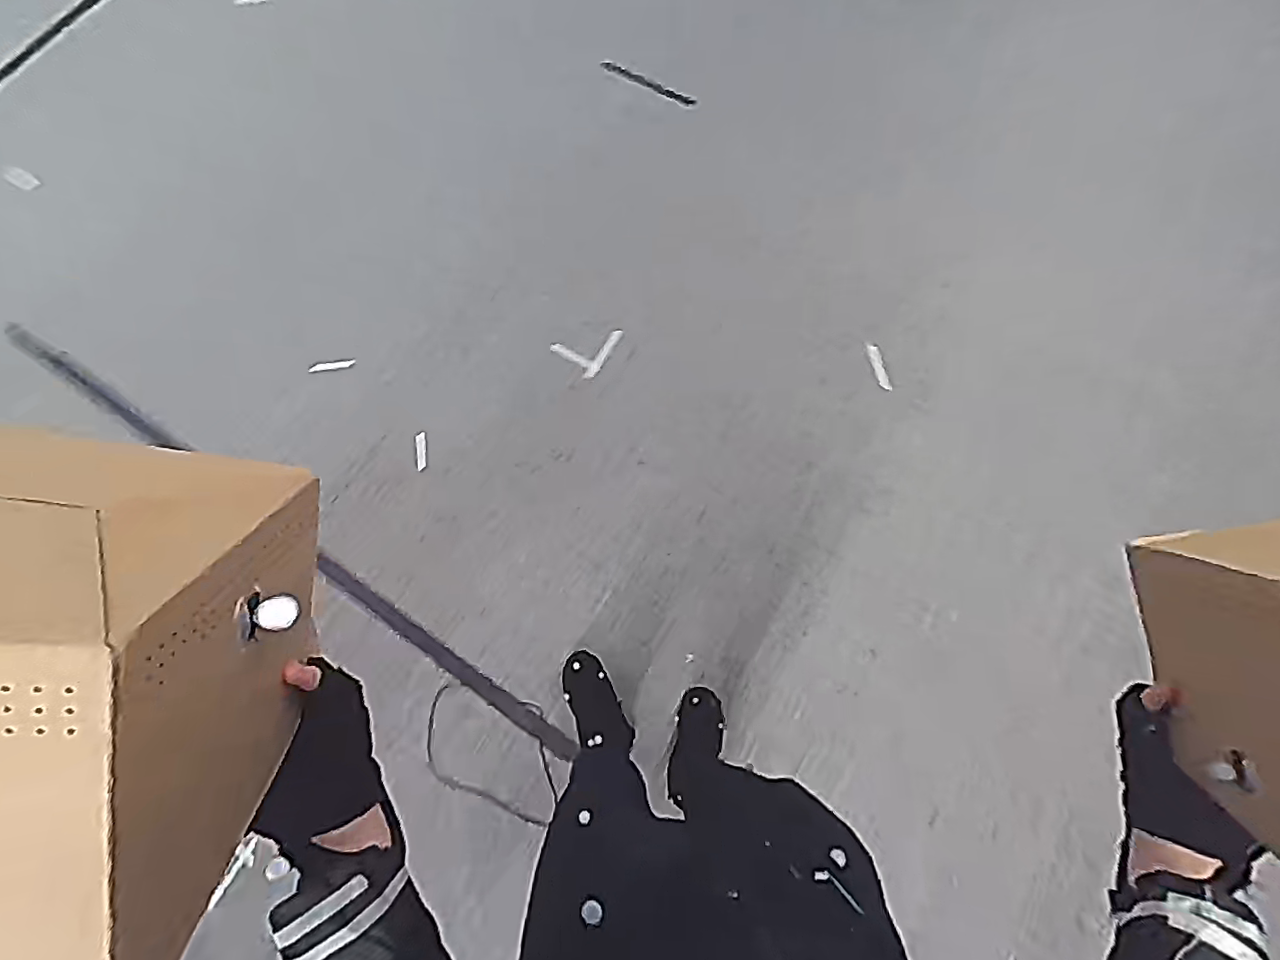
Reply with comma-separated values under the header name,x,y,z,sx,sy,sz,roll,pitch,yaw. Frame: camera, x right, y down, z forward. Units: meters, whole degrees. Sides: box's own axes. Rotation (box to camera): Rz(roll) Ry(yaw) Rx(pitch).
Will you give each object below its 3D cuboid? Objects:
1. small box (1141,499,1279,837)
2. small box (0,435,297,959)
name,x,y,z,sx,sy,sz,roll,pitch,yaw
small box,0.405,0.094,0.274,0.168,0.179,0.176,-12,88,22
small box,-0.252,0.082,0.205,0.168,0.179,0.176,9,103,-17
